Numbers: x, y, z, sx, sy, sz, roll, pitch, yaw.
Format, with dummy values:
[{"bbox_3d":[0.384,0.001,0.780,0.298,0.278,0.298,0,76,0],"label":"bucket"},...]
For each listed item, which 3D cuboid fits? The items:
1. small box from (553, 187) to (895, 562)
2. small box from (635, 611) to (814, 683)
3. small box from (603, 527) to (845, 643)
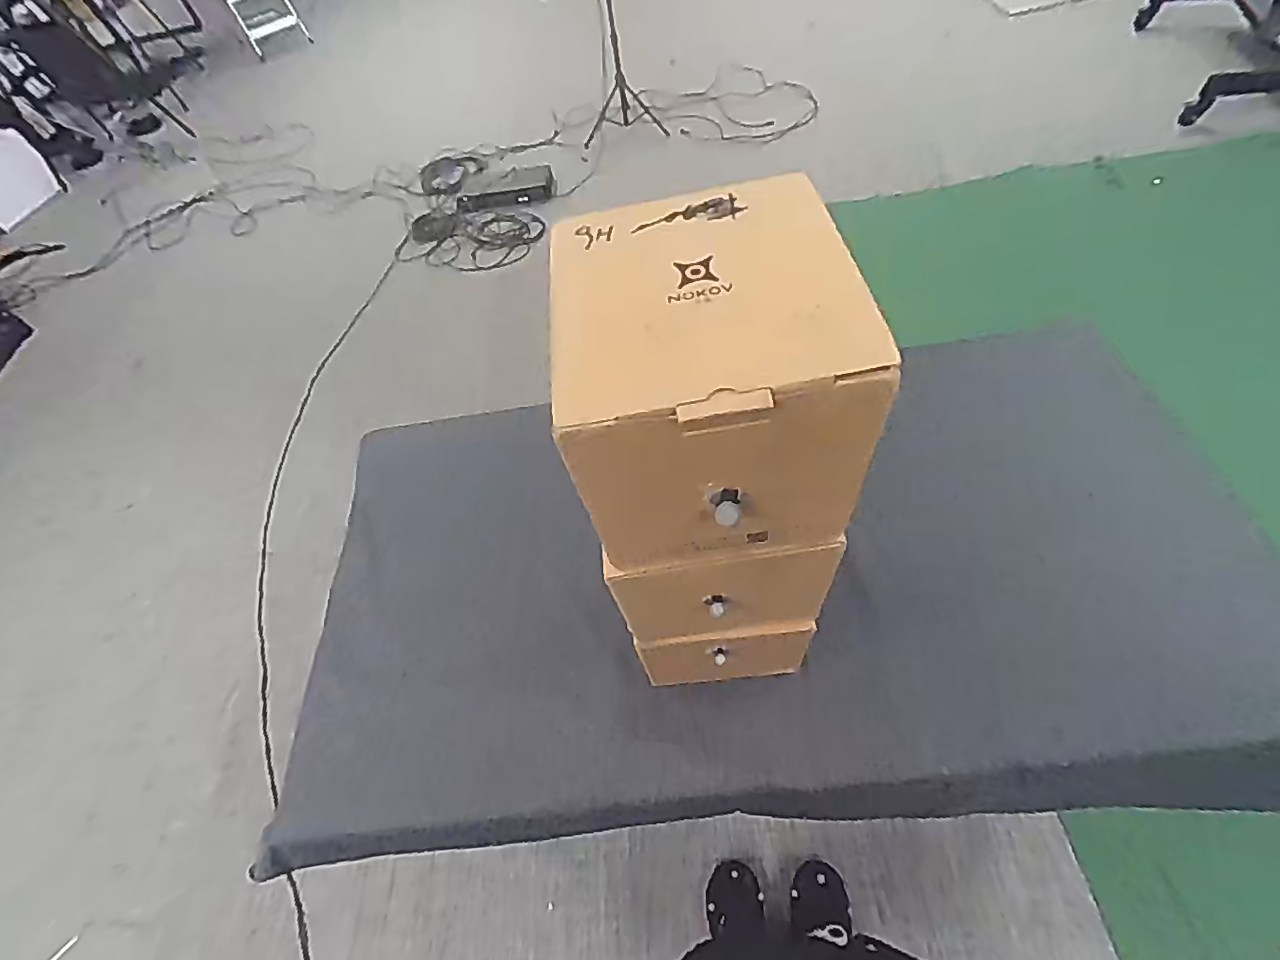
[{"bbox_3d":[0.044,-0.055,0.365,0.168,0.176,0.179,-9,58,4],"label":"small box"},{"bbox_3d":[0.087,0.130,0.631,0.179,0.176,0.168,-7,58,3],"label":"small box"},{"bbox_3d":[0.065,0.039,0.496,0.179,0.176,0.168,-10,57,5],"label":"small box"}]
